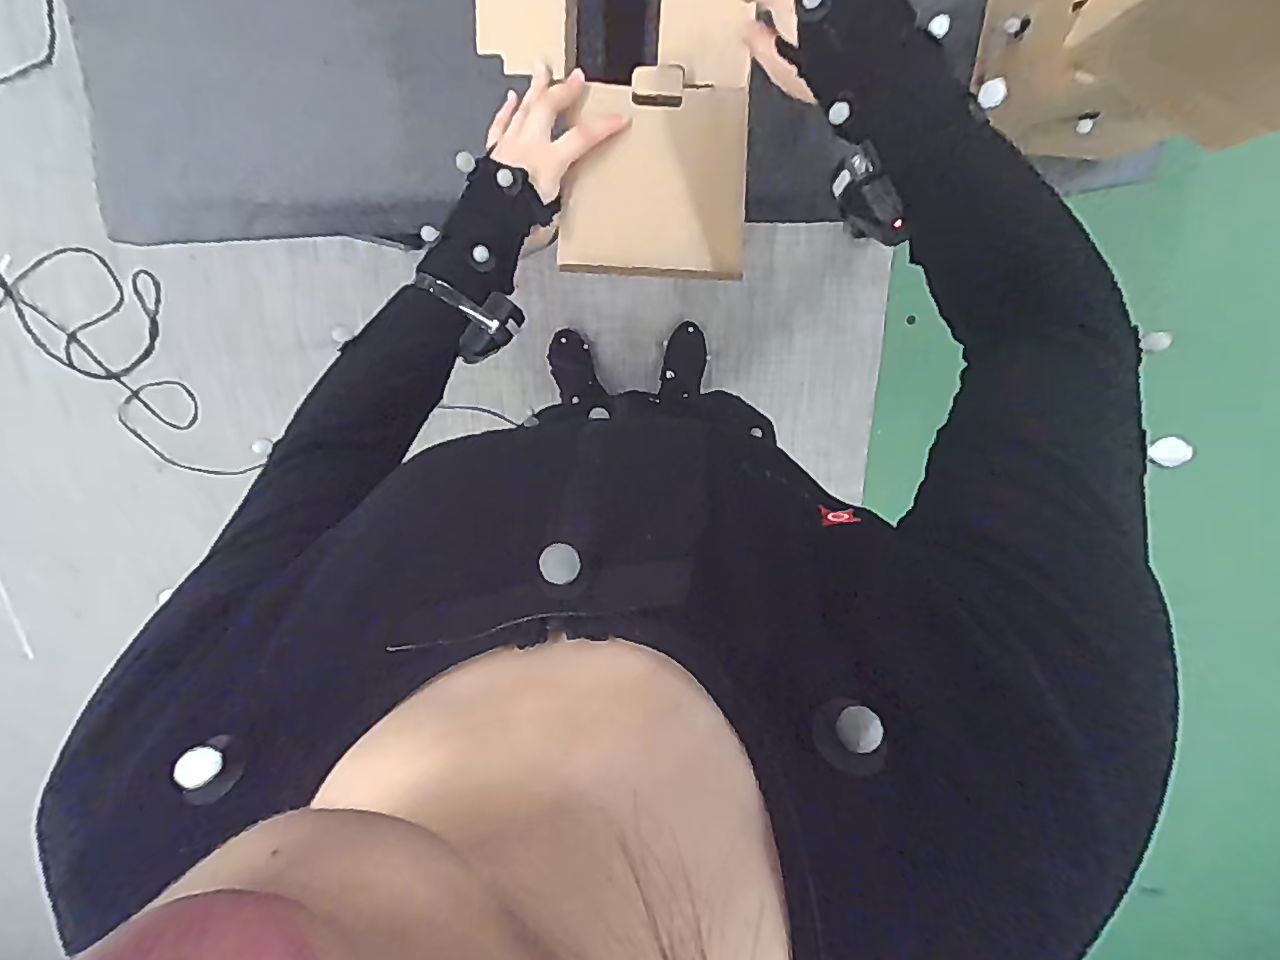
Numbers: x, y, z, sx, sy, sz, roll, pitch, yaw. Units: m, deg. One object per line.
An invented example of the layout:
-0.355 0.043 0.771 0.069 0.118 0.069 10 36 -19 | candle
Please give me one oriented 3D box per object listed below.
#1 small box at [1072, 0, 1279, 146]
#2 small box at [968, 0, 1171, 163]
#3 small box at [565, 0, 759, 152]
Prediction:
0.468 -0.371 0.375 0.179 0.176 0.168 25 103 -8 | small box
0.463 -0.429 0.528 0.179 0.176 0.168 4 105 -1 | small box
0.020 -0.439 0.524 0.168 0.176 0.179 2 106 -1 | small box
